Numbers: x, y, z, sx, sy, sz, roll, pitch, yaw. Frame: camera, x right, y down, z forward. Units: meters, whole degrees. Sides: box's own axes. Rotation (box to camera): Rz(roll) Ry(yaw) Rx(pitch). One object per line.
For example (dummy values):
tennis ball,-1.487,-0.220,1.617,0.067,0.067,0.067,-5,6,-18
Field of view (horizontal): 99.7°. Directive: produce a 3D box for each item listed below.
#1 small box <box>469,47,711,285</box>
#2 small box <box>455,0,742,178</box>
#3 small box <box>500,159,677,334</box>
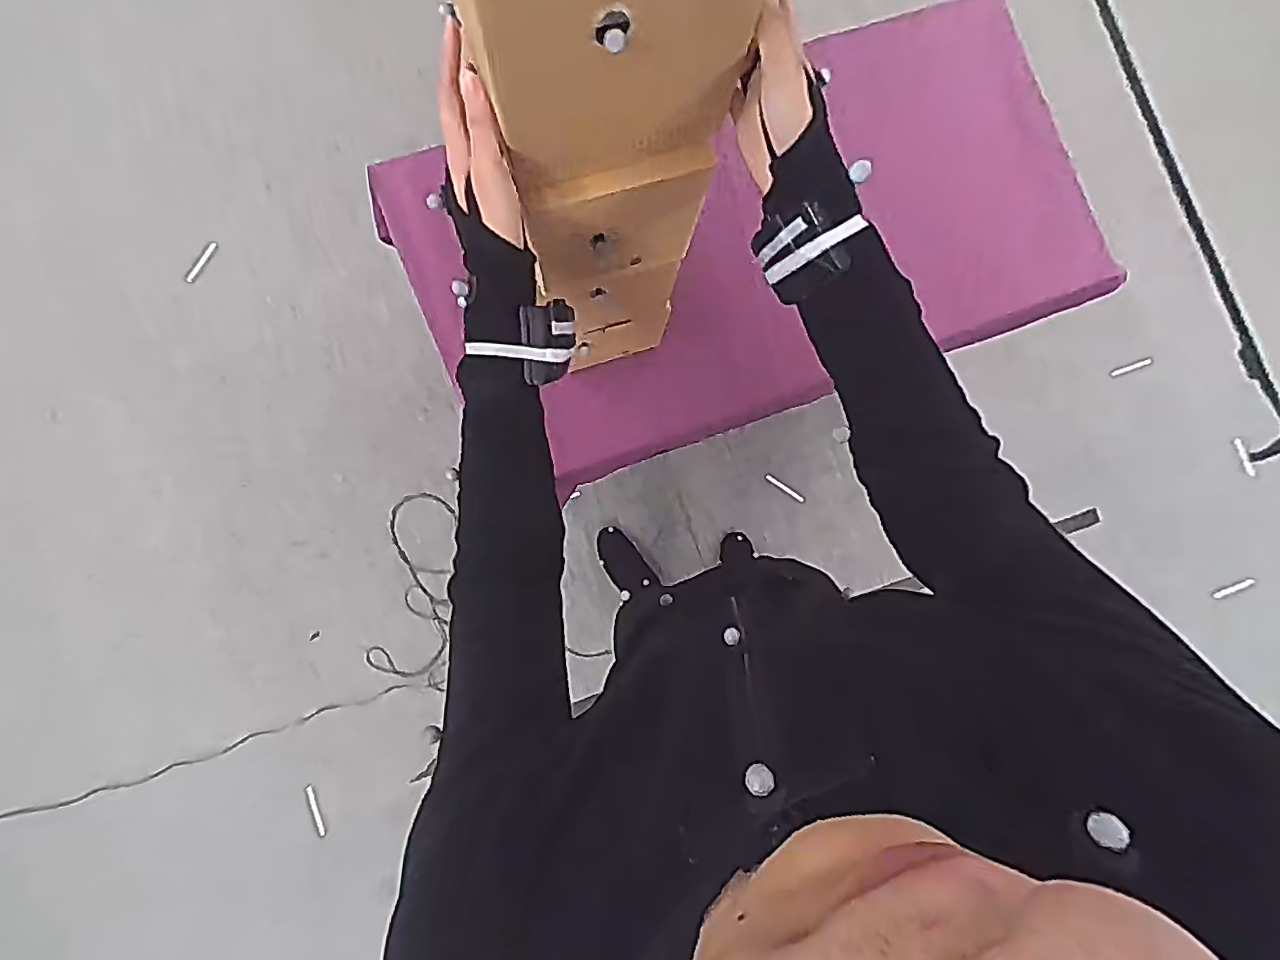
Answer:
small box,-0.047,-0.312,0.527,0.168,0.176,0.179,-18,86,-6
small box,-0.037,-0.342,0.365,0.179,0.176,0.168,-19,86,-7
small box,-0.063,-0.301,0.688,0.179,0.176,0.168,-12,87,-6
